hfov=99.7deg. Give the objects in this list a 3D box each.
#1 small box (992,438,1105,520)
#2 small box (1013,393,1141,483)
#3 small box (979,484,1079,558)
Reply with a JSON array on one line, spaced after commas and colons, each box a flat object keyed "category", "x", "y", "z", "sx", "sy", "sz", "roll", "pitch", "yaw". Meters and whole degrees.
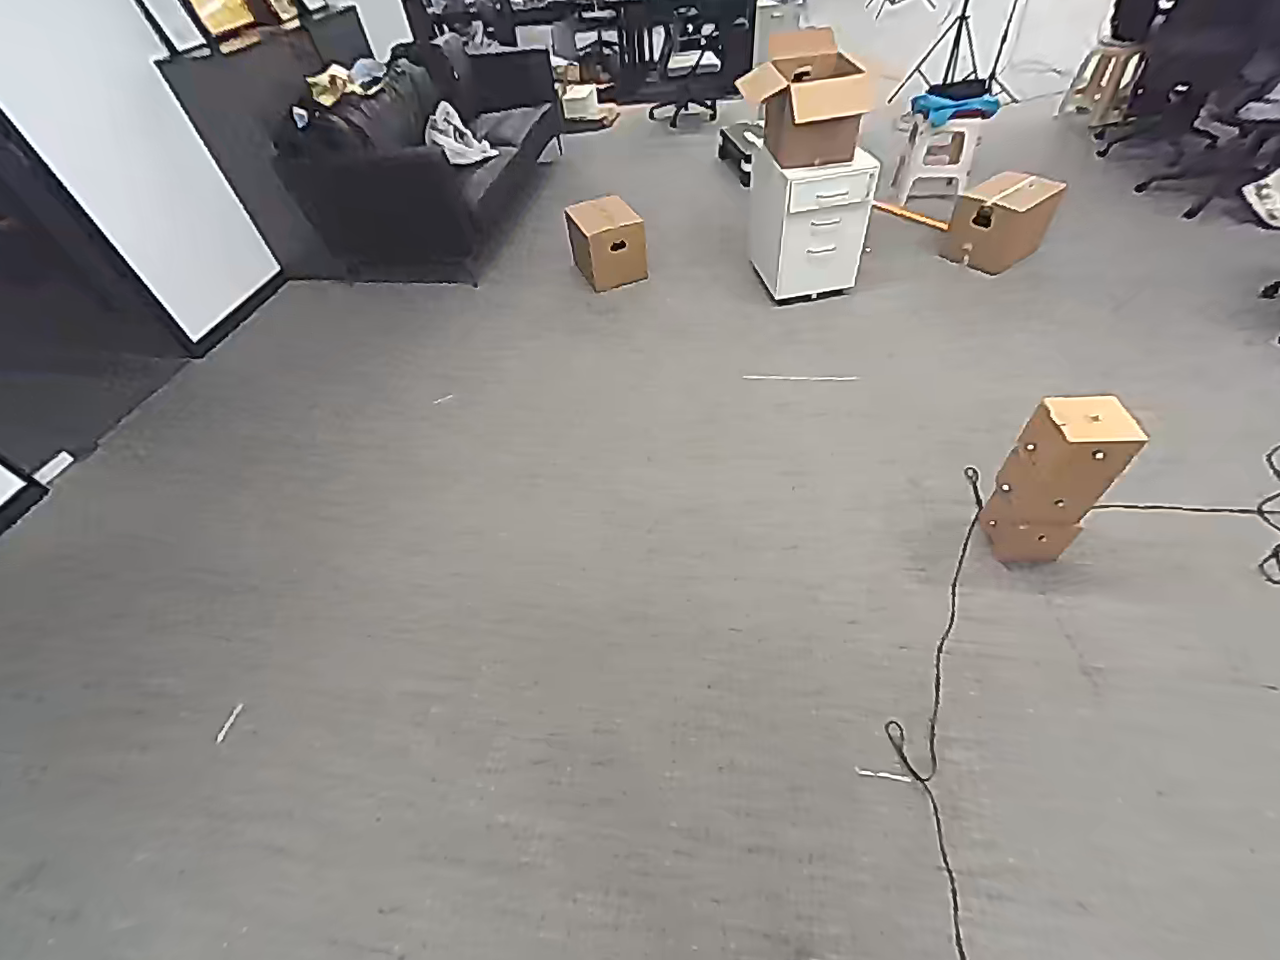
[{"category": "small box", "x": 1.137, "y": -0.001, "z": 1.521, "sx": 0.179, "sy": 0.176, "sz": 0.168, "roll": 0, "pitch": 47, "yaw": 8}, {"category": "small box", "x": 1.116, "y": -0.105, "z": 1.398, "sx": 0.179, "sy": 0.176, "sz": 0.168, "roll": -1, "pitch": 48, "yaw": 8}, {"category": "small box", "x": 1.155, "y": 0.122, "z": 1.629, "sx": 0.179, "sy": 0.176, "sz": 0.168, "roll": -2, "pitch": 48, "yaw": 5}]
